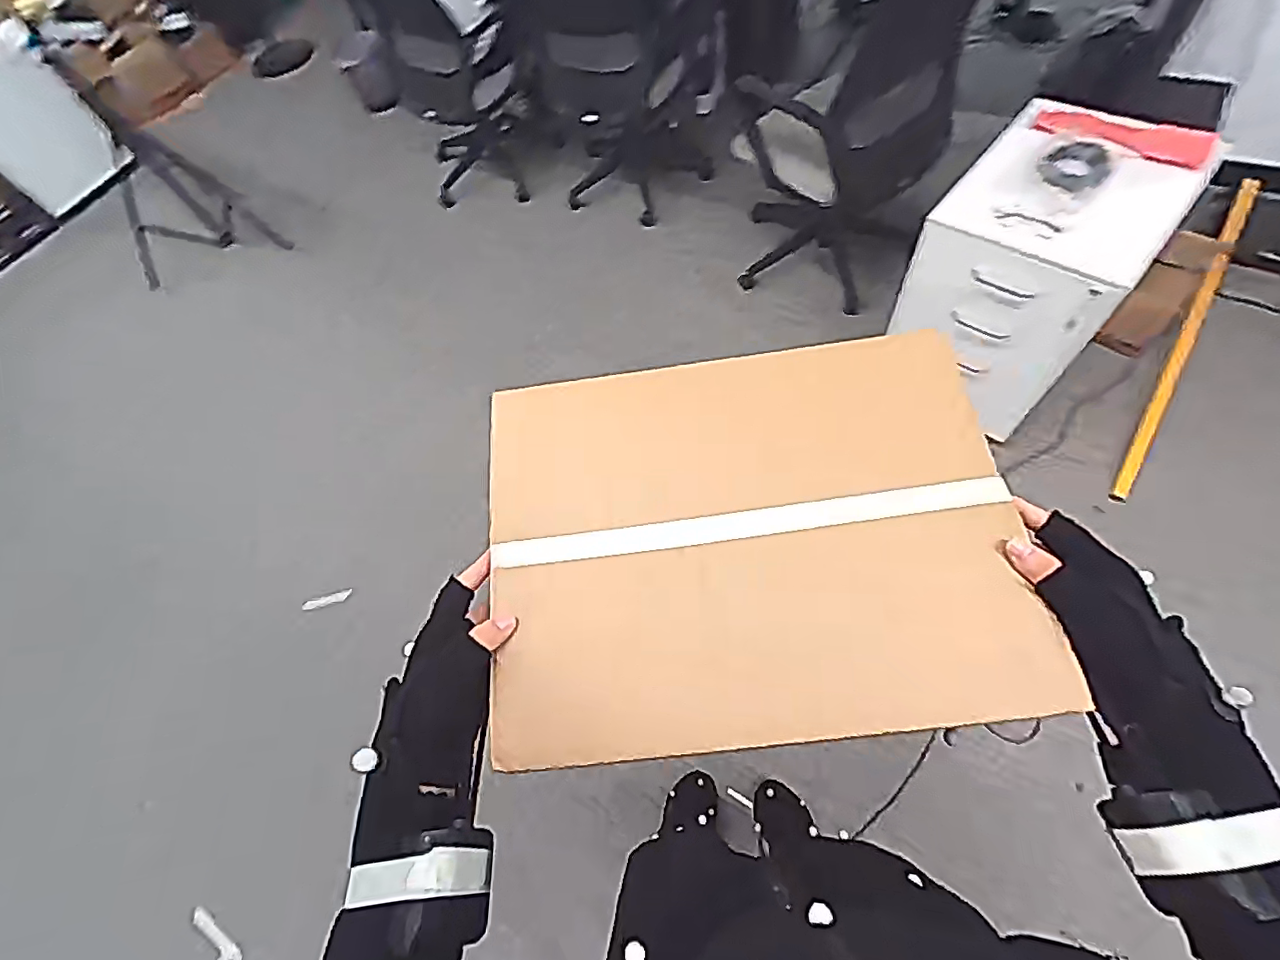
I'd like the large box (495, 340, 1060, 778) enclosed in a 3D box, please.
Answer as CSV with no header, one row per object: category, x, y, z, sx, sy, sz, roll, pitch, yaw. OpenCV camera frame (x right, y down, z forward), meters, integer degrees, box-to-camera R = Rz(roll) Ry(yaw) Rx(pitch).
large box,0.096,0.099,0.576,0.408,0.320,0.320,-9,66,3
